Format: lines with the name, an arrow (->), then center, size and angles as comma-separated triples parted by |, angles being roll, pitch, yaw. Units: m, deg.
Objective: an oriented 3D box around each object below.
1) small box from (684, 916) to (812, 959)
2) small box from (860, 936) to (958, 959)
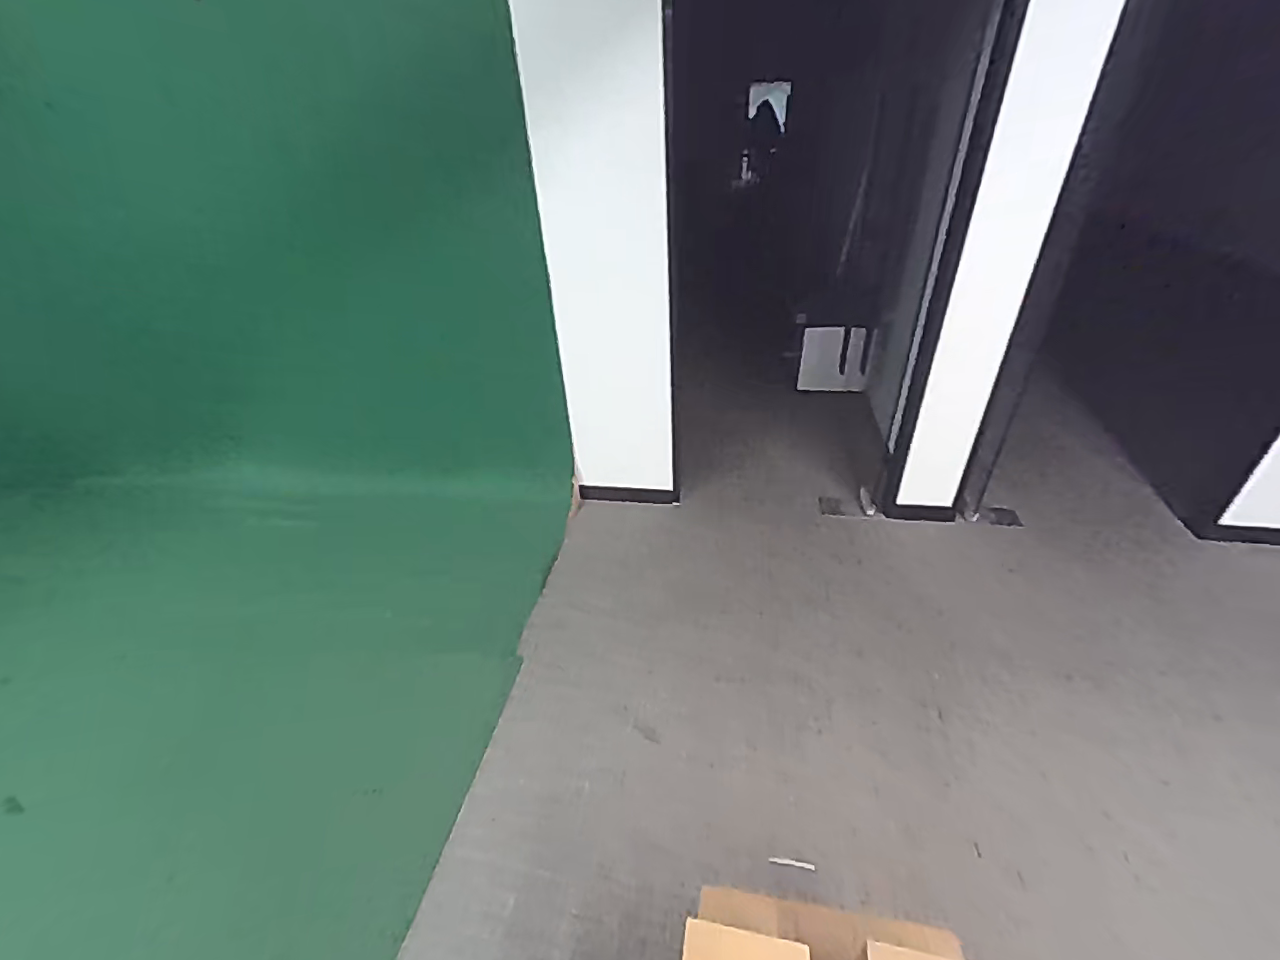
small box -> 0.133, 0.722, 0.709 | 0.168, 0.176, 0.179 | 5, 37, 10
small box -> 0.367, 0.728, 0.675 | 0.168, 0.176, 0.179 | 5, 34, 14
